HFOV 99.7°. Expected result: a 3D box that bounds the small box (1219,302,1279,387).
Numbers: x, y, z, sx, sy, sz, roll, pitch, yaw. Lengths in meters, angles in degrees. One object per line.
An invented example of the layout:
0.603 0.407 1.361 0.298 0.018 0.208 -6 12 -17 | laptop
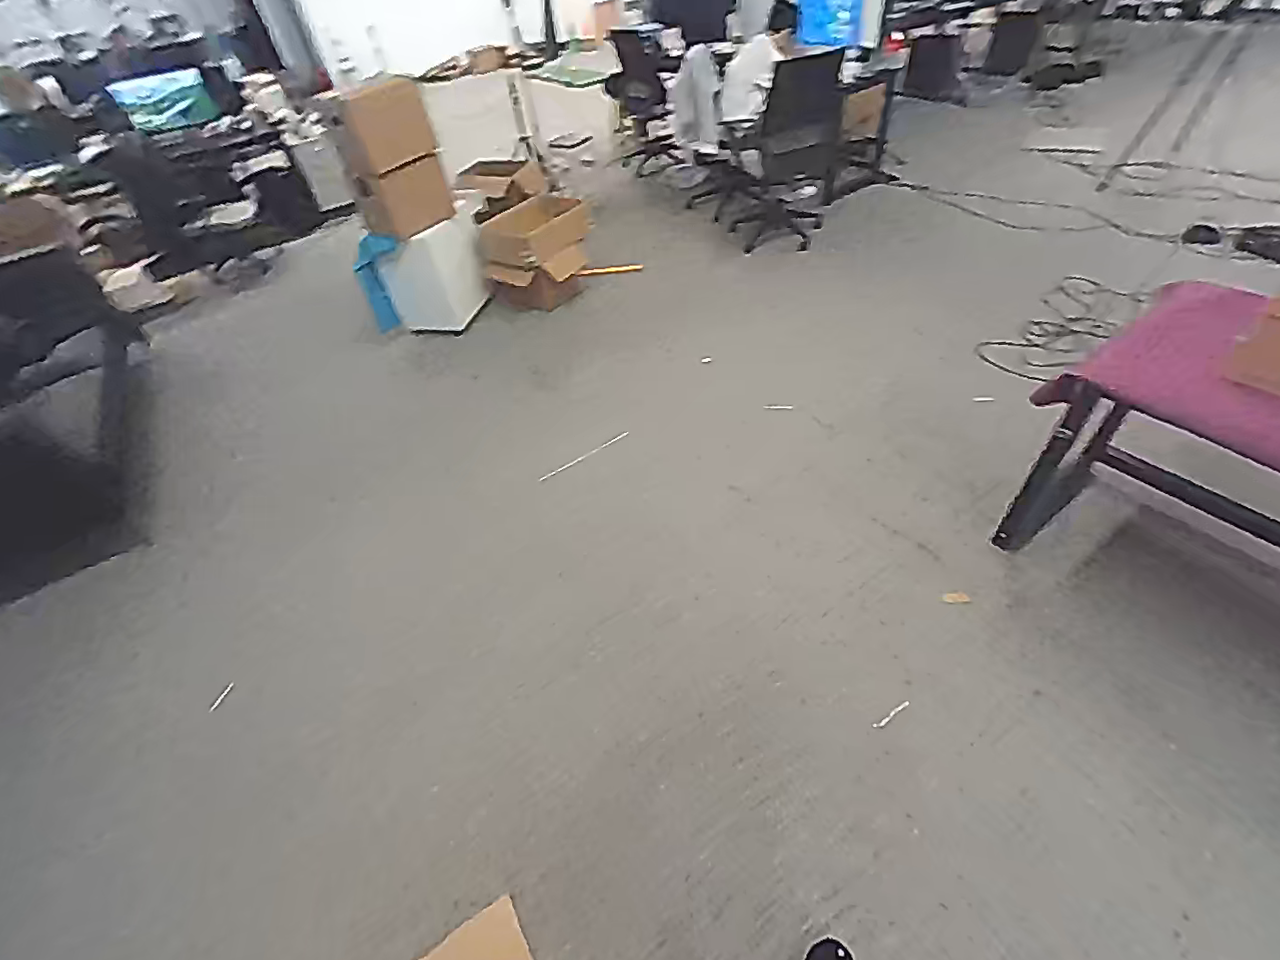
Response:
1.481 -0.318 1.203 0.168 0.176 0.179 -30 49 -18 | small box
